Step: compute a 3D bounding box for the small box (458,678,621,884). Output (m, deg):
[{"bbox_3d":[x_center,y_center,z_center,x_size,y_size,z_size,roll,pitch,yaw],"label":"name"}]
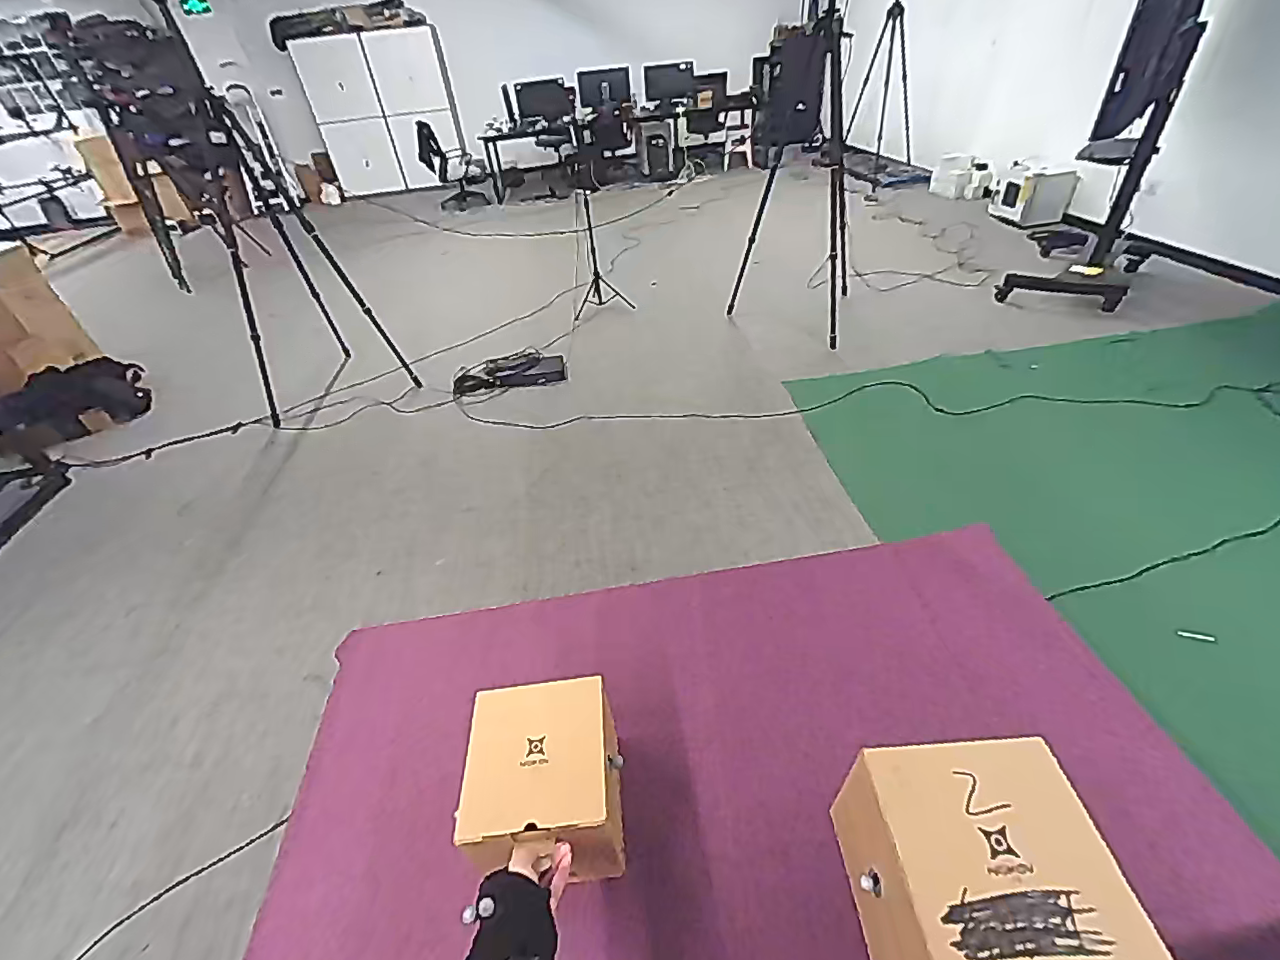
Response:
[{"bbox_3d":[-0.118,0.389,0.703,0.168,0.176,0.179,-7,39,-1],"label":"small box"}]
